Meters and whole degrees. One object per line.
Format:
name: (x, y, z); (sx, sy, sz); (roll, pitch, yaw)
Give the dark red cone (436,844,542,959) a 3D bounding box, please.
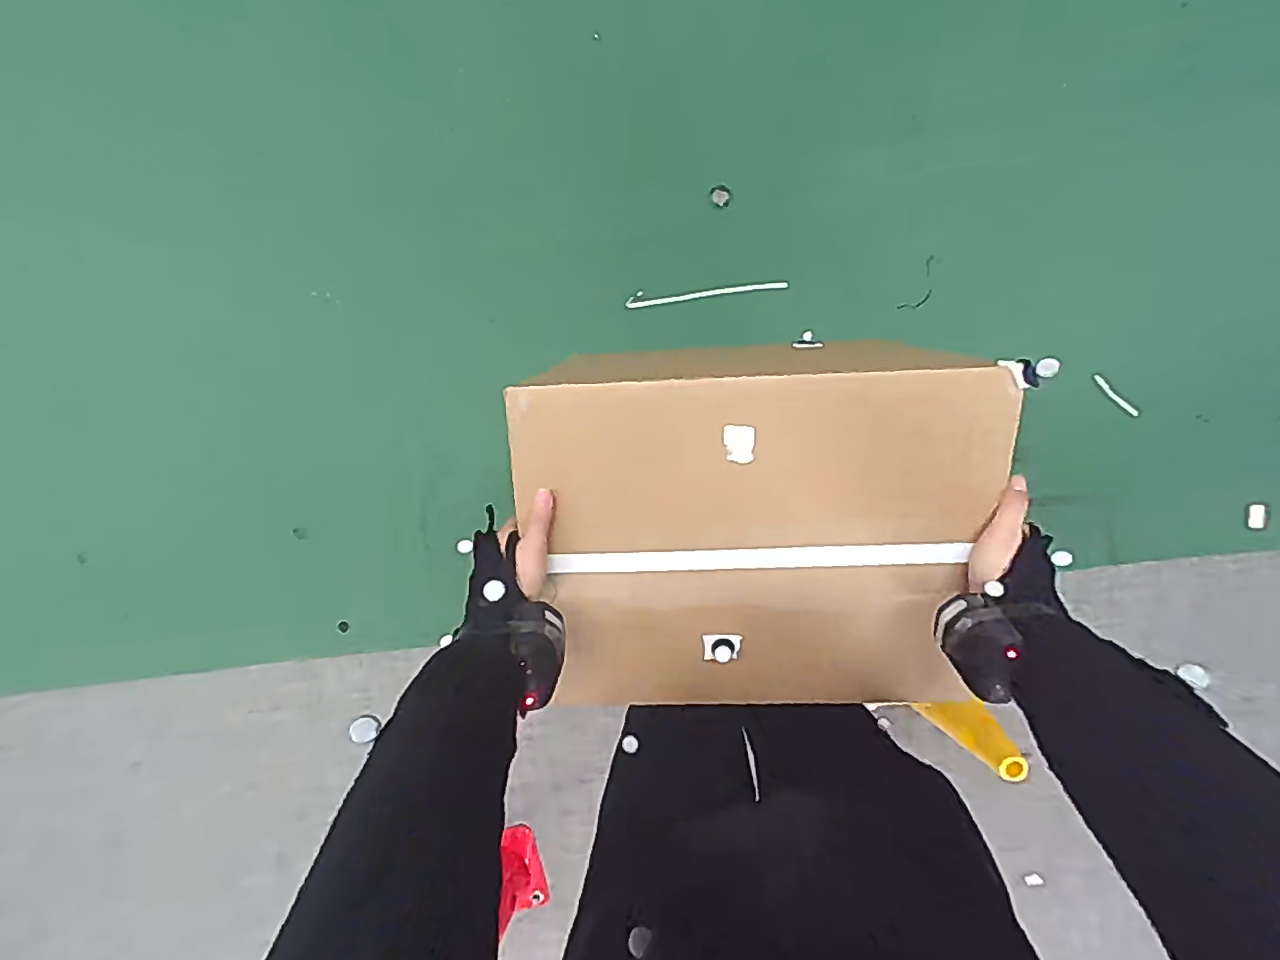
dark red cone: (-0.337, 0.908, 1.017); (0.202, 0.394, 0.201); (-15, 92, 5)
